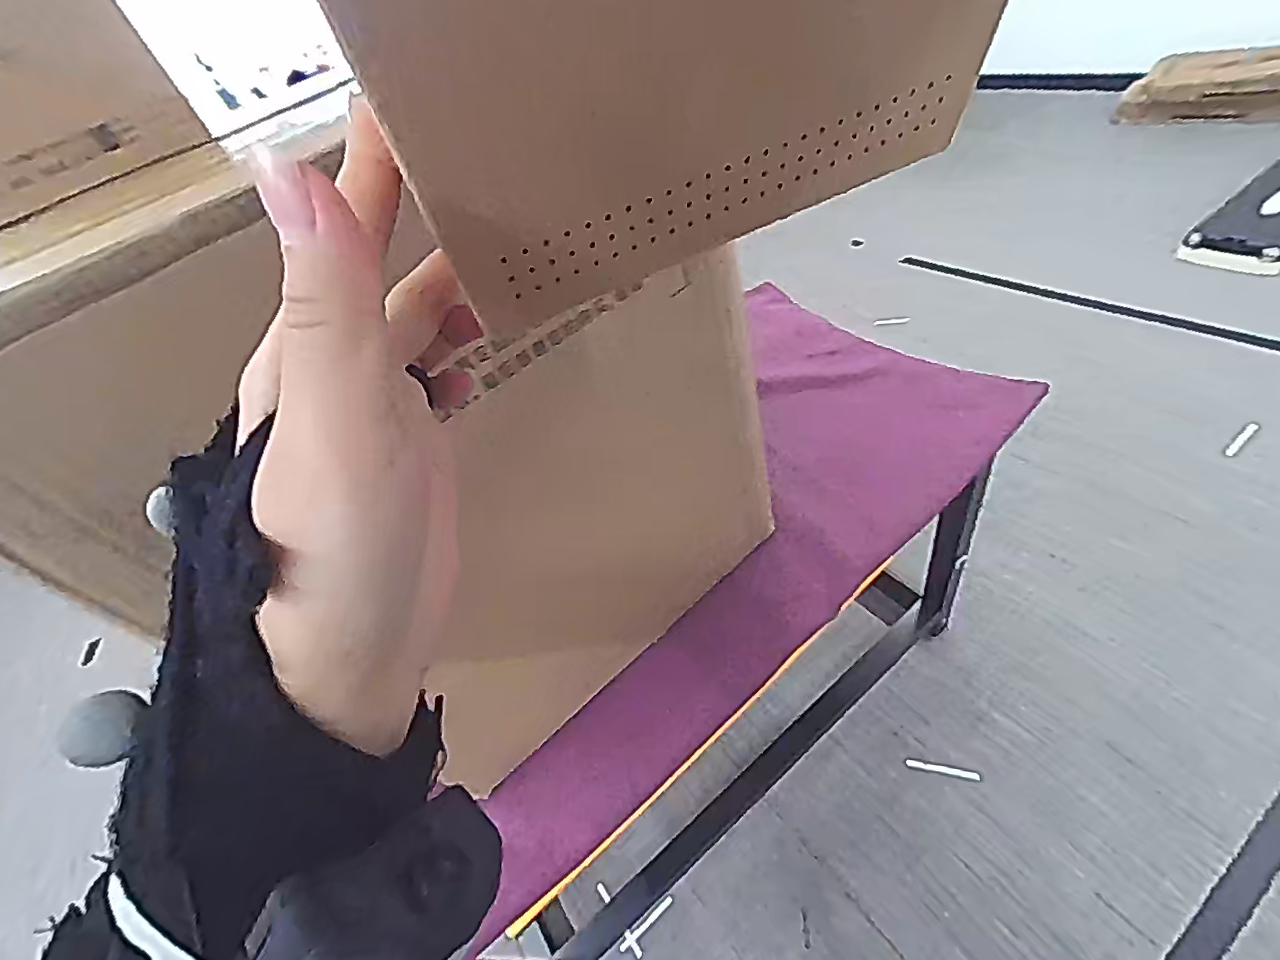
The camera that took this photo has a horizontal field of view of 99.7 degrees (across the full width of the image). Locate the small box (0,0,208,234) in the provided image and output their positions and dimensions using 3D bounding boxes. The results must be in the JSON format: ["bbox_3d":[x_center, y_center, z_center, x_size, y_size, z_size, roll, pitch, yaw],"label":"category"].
[{"bbox_3d":[-0.439,-0.282,0.361,0.168,0.176,0.179,-42,49,-21],"label":"small box"}]
